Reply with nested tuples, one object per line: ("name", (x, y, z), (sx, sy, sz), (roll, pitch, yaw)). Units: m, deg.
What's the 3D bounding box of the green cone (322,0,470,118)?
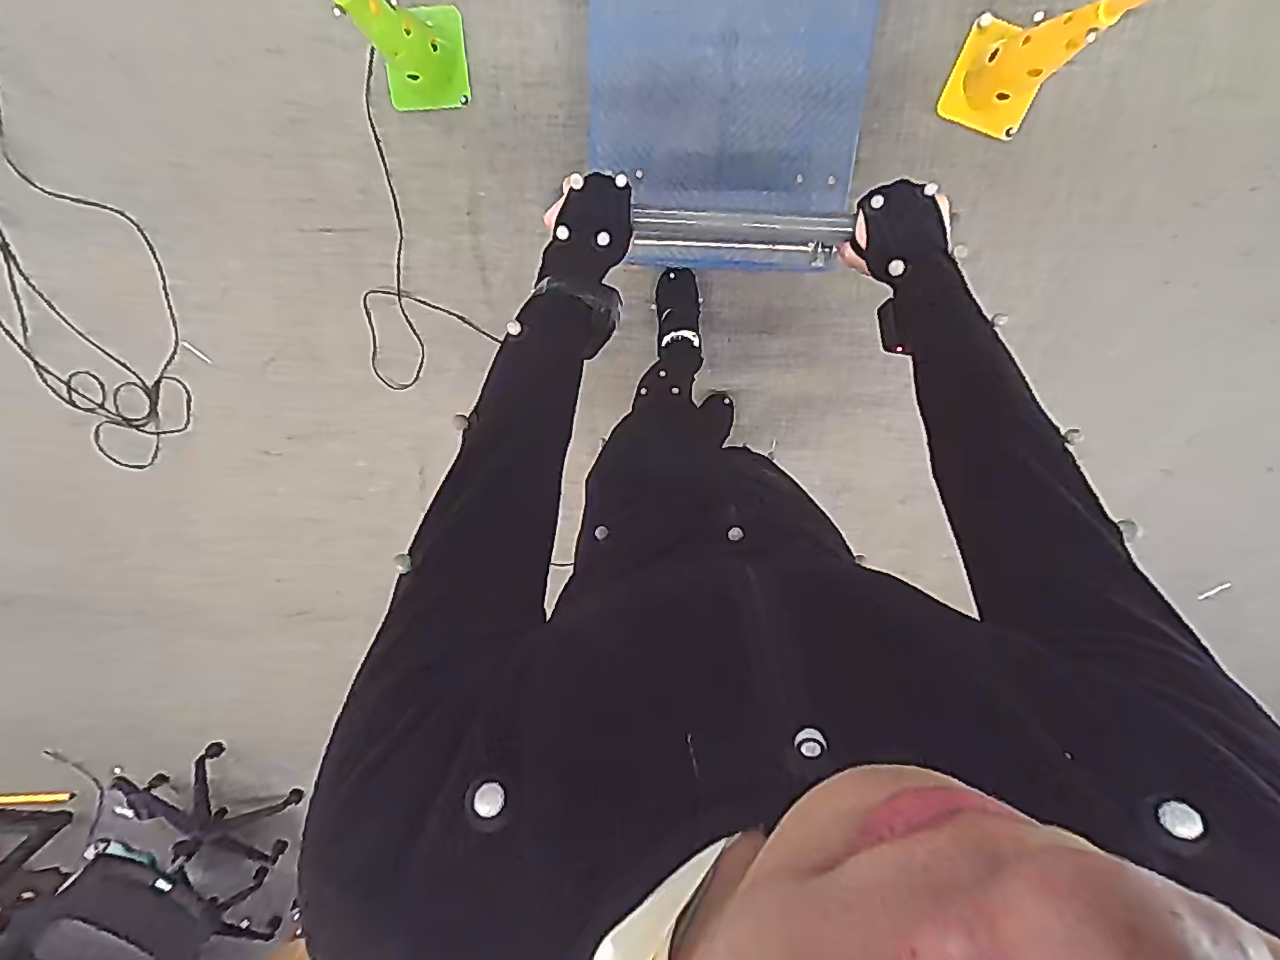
("green cone", (-0.530, -0.927, 1.131), (0.202, 0.368, 0.200), (0, 110, 6))
